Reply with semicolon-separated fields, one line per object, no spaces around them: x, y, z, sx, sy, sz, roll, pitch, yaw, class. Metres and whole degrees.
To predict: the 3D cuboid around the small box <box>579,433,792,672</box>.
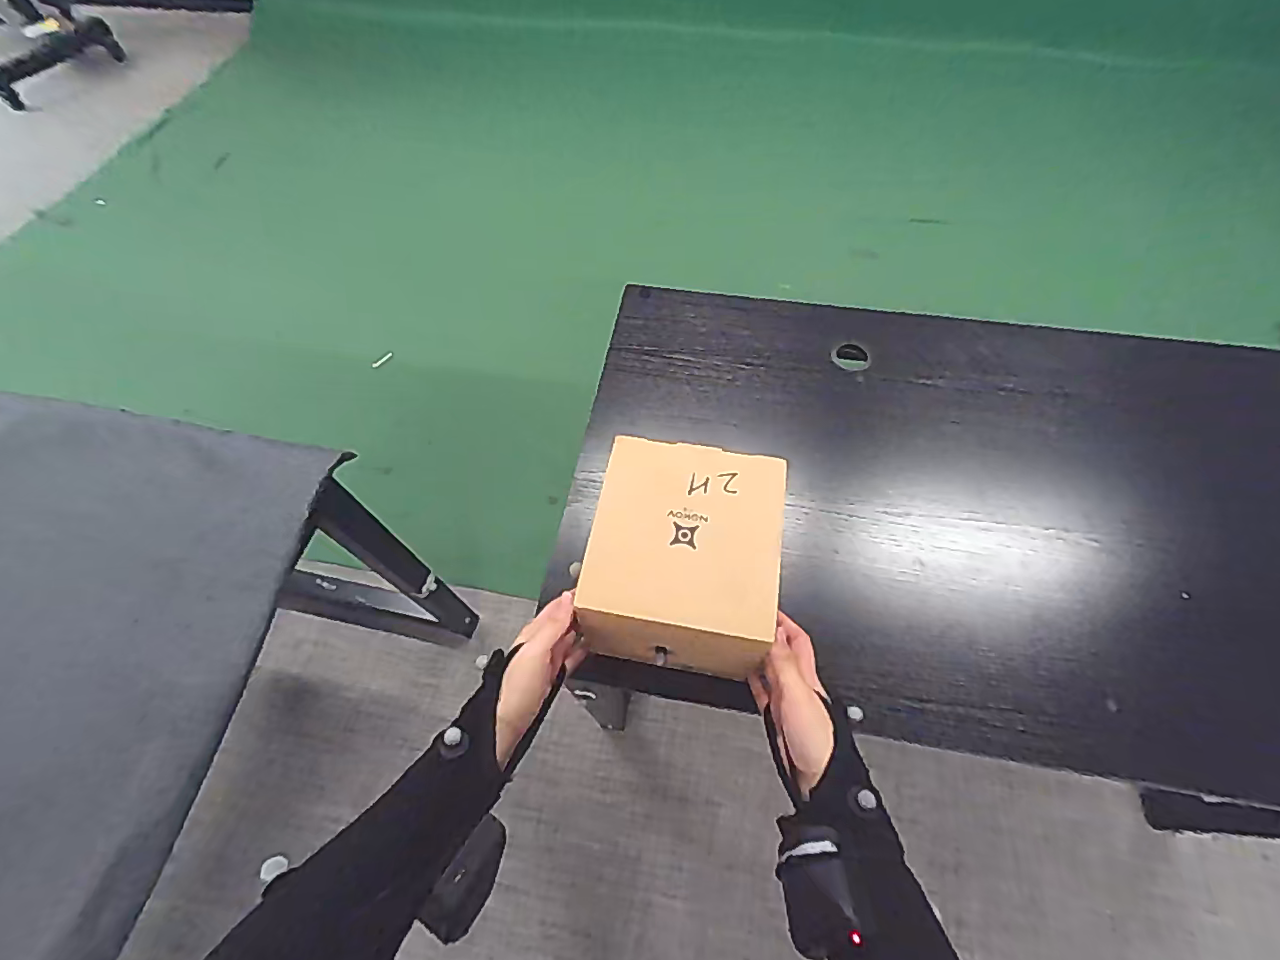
0.047;0.080;0.538;0.168;0.176;0.179;9;61;6;small box
